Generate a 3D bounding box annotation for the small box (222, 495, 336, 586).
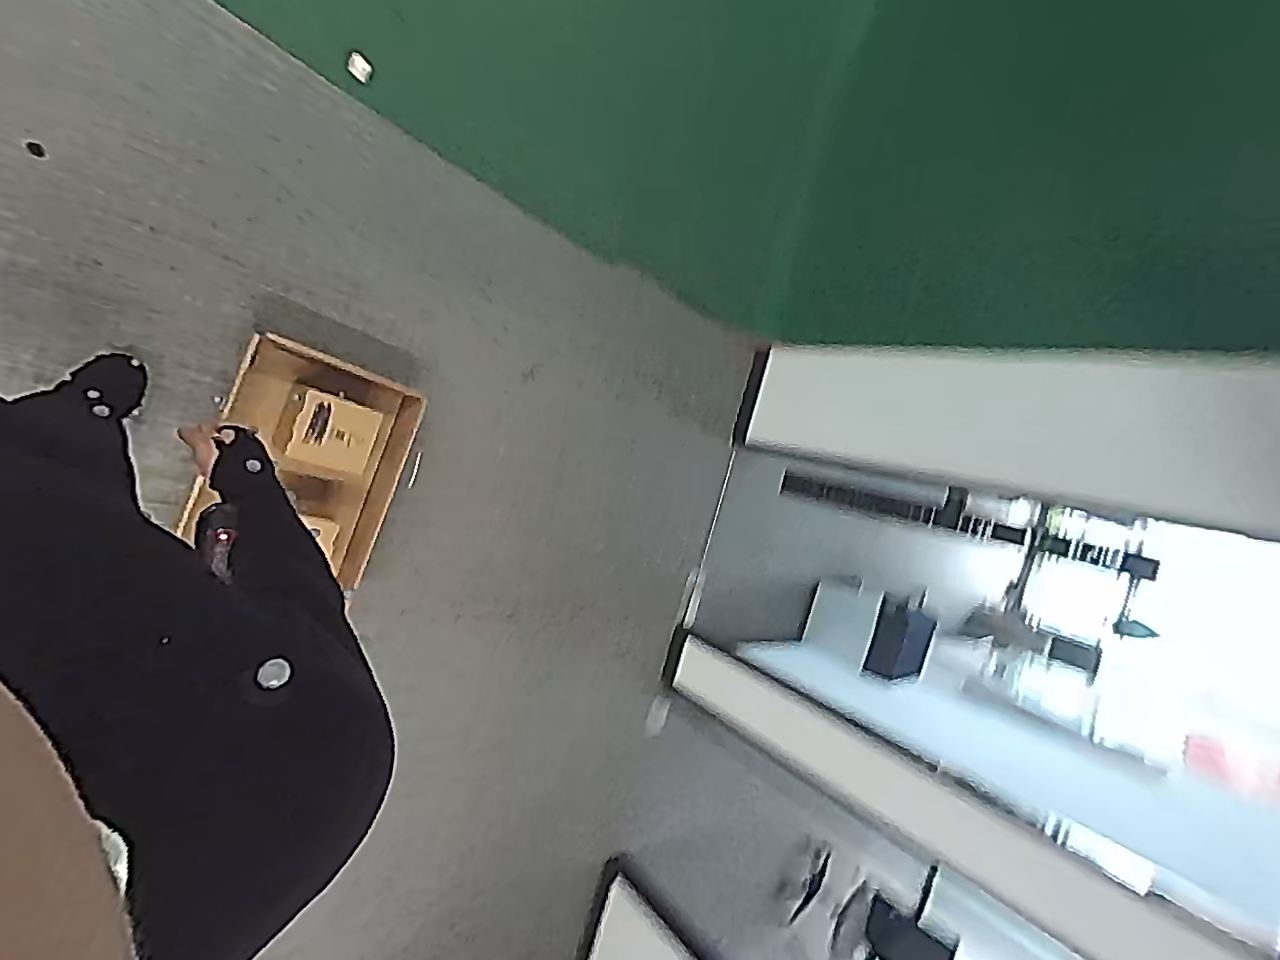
[{"bbox_3d":[-0.883,0.145,1.320,0.179,0.176,0.168,23,85,-44],"label":"small box"}]
